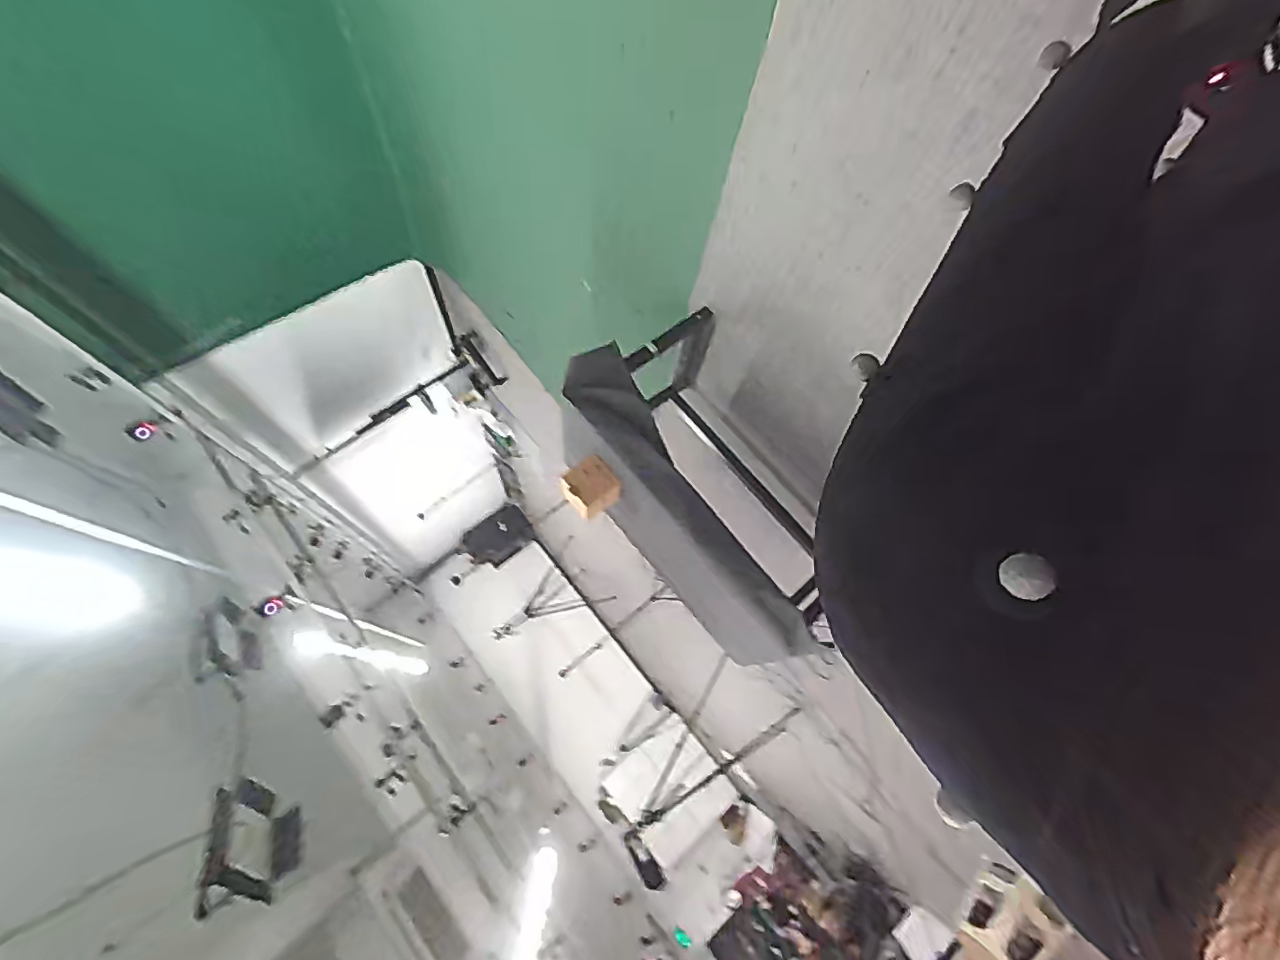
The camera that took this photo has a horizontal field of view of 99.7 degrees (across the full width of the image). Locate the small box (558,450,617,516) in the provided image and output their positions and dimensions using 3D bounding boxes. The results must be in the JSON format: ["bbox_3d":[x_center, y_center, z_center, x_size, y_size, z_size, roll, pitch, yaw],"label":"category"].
[{"bbox_3d":[-0.204,0.009,2.129,0.168,0.176,0.179,50,162,14],"label":"small box"}]
